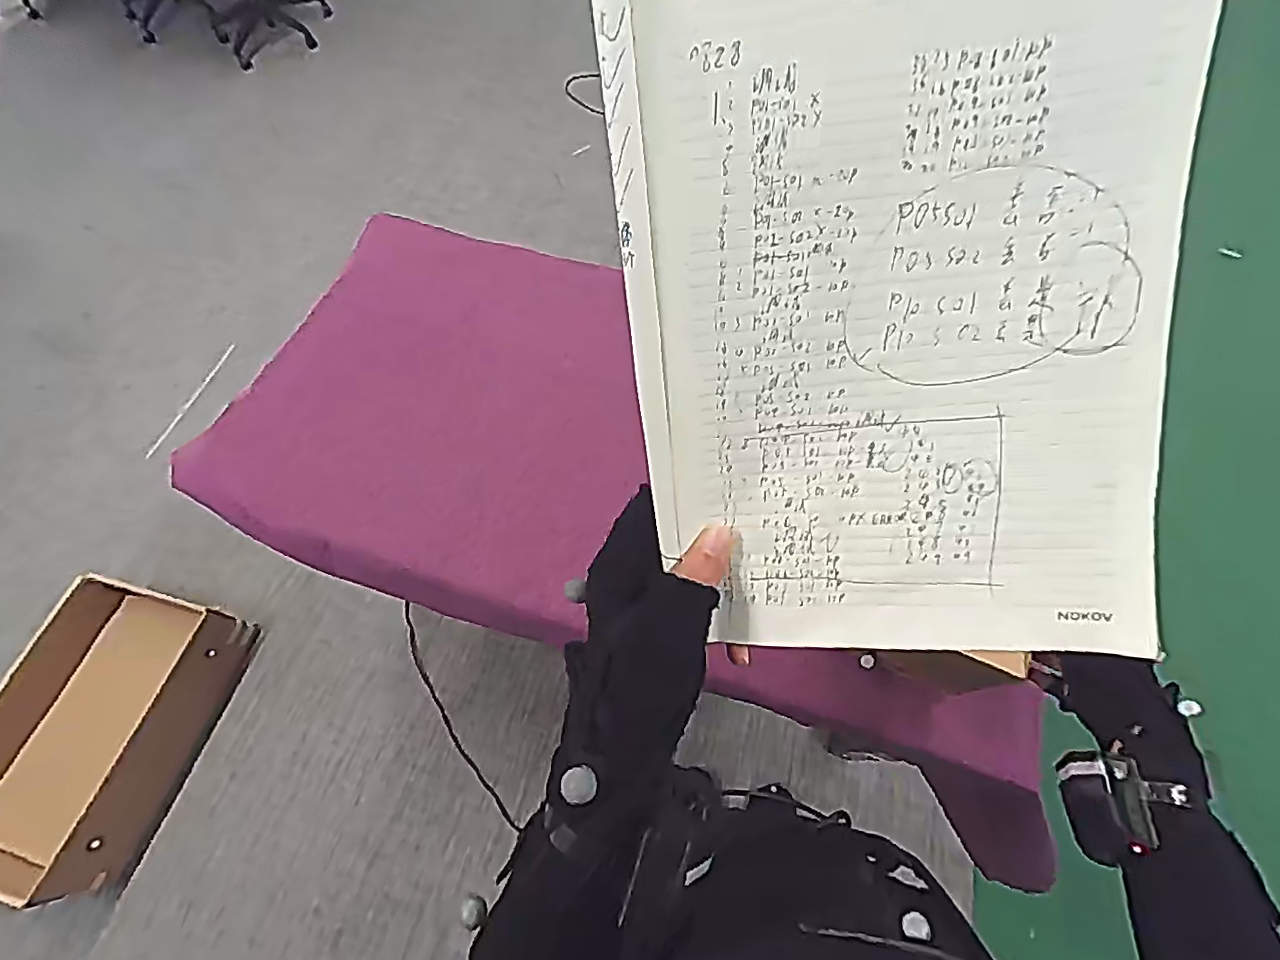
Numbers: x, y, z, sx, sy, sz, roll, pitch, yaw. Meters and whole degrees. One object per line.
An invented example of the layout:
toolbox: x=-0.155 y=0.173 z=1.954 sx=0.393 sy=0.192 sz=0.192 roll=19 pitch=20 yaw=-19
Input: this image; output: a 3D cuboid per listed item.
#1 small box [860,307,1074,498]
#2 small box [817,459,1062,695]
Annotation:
small box: x=0.396 y=-0.077 z=0.679 sx=0.168 sy=0.176 sz=0.179 roll=21 pitch=67 yaw=15
small box: x=0.311 y=0.112 z=0.593 sx=0.168 sy=0.176 sz=0.179 roll=23 pitch=68 yaw=16
